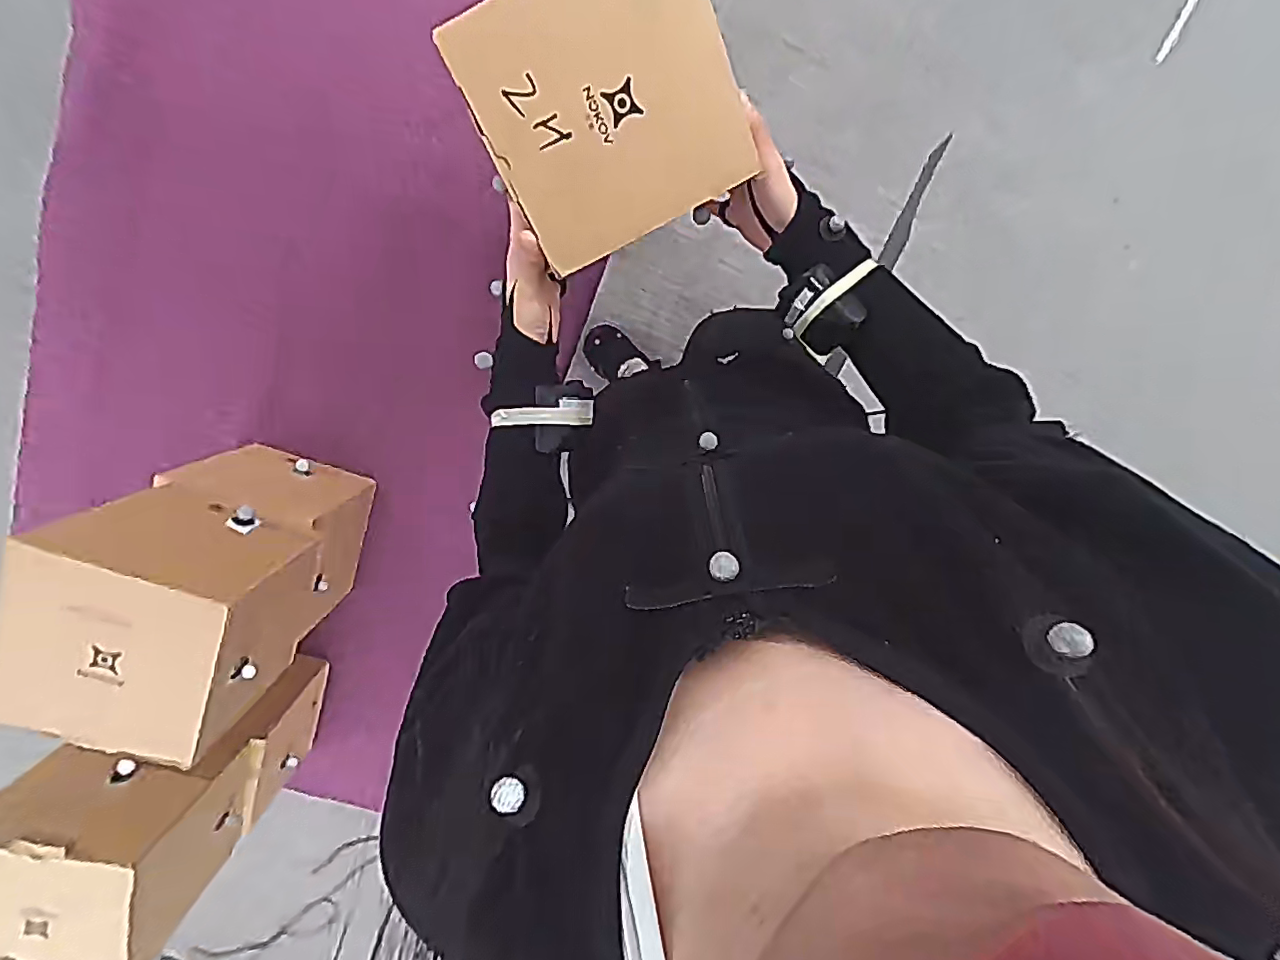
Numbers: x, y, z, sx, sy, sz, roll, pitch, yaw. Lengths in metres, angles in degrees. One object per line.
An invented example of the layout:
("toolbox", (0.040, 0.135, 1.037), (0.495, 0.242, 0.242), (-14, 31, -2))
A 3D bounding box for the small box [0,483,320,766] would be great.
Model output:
("small box", (-0.444, 0.125, 0.520), (0.168, 0.176, 0.179), (20, 103, -10))

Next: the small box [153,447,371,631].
("small box", (-0.464, 0.076, 0.674), (0.168, 0.176, 0.179), (18, 103, -8))

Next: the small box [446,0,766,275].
("small box", (-0.027, -0.291, 0.441), (0.179, 0.176, 0.168), (-25, 116, 4))

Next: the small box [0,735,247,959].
("small box", (-0.569, 0.390, 0.589), (0.168, 0.176, 0.179), (15, 104, -6))

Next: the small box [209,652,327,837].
("small box", (-0.568, 0.342, 0.746), (0.179, 0.176, 0.168), (17, 104, -7))
